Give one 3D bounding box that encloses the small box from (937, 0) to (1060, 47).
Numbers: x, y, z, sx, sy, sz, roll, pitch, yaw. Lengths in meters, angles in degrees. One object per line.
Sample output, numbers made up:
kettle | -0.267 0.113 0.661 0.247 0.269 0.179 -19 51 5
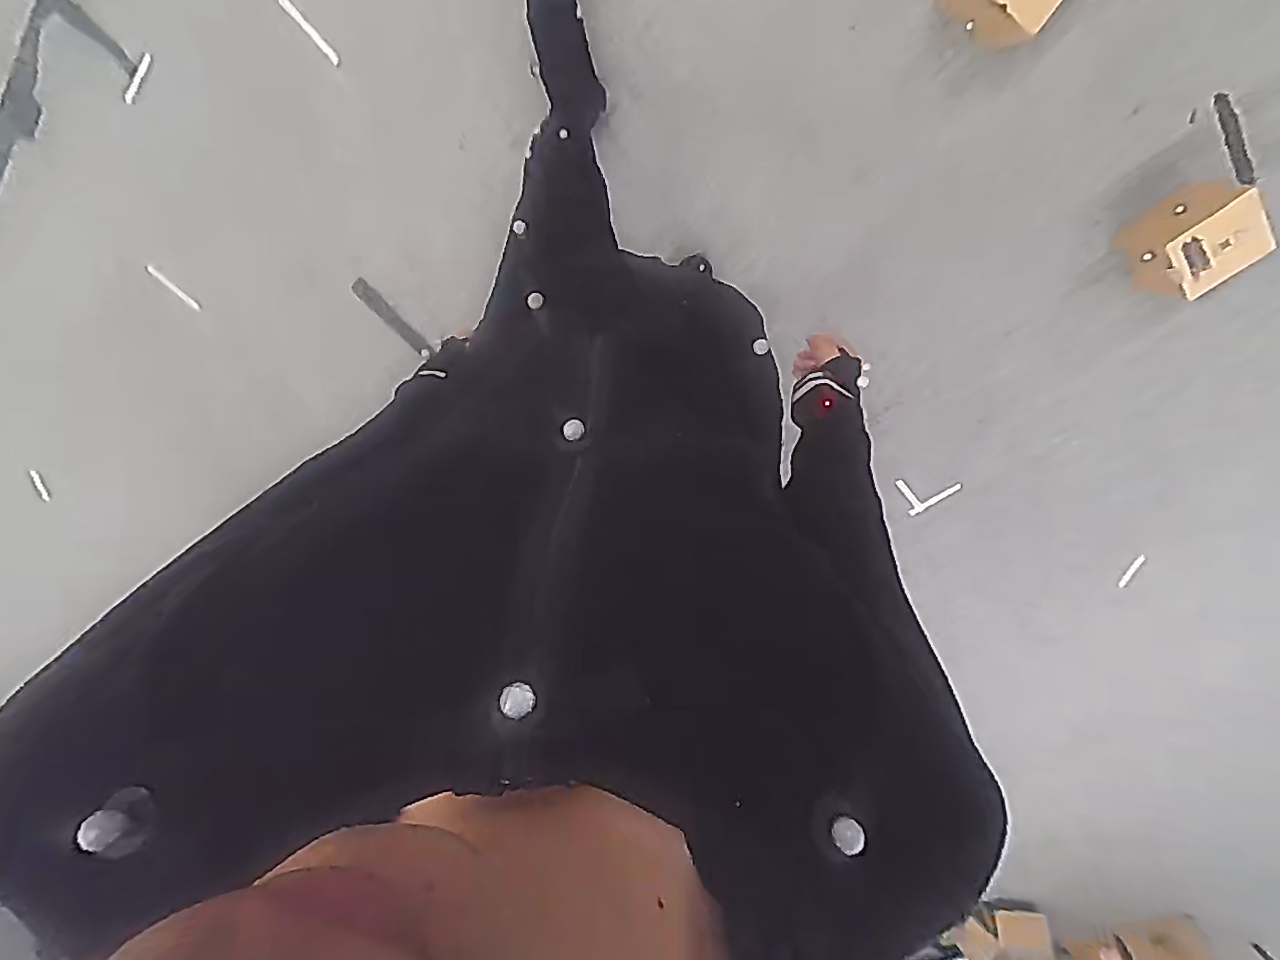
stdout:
small box | 0.710 -0.969 1.022 0.168 0.176 0.179 27 120 -13
